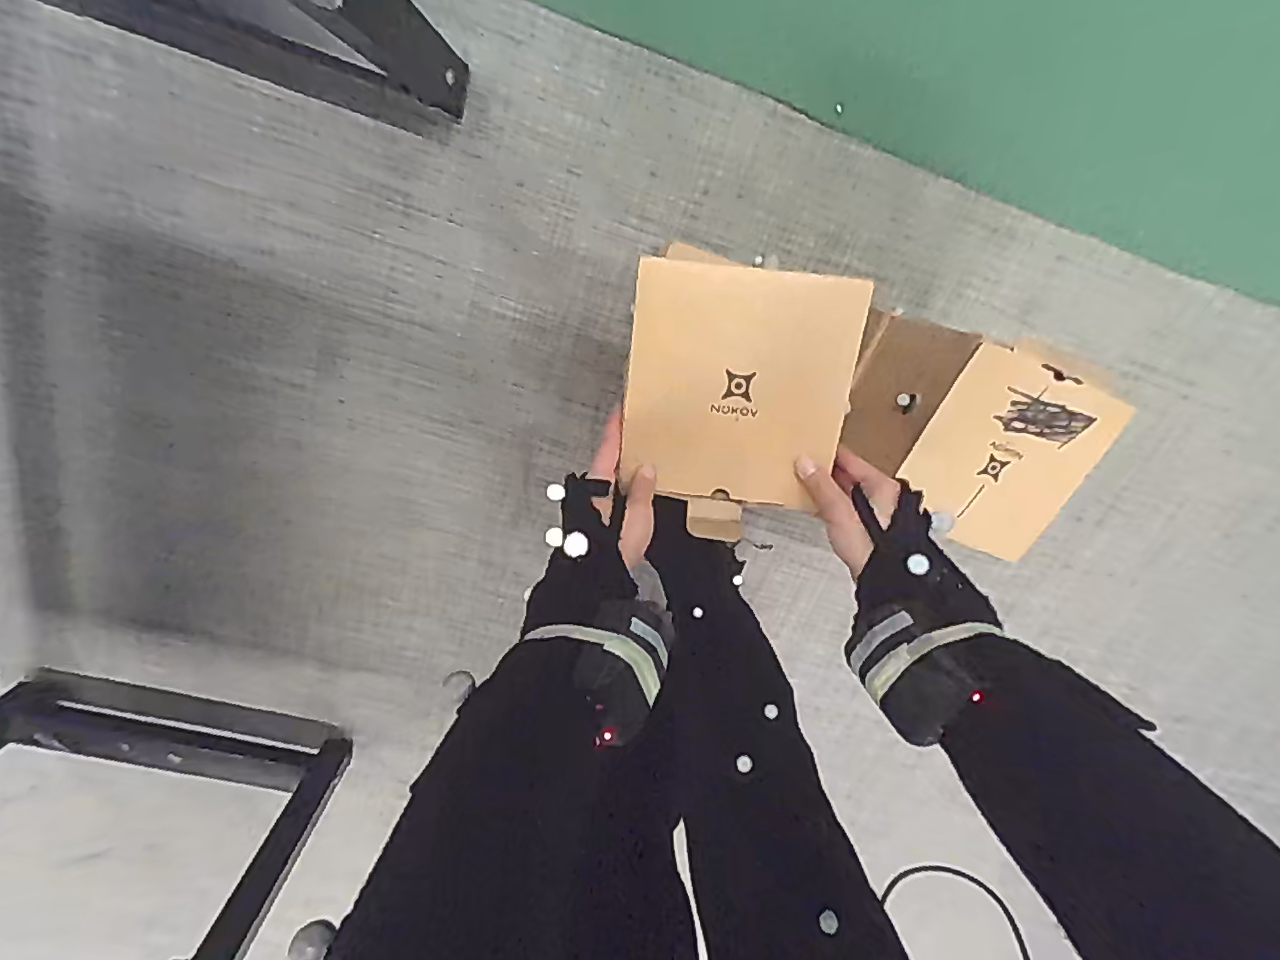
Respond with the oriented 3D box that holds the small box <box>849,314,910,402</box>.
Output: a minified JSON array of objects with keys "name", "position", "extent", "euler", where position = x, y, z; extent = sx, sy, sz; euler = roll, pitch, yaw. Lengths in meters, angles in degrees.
[{"name":"small box","position":[0.318,-0.113,0.722],"extent":[0.168,0.176,0.179],"euler":[21,112,-8]}]

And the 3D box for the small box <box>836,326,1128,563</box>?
[{"name":"small box","position":[0.328,-0.048,0.571],"extent":[0.168,0.176,0.179],"euler":[21,111,-8]}]

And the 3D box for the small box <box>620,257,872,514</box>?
[{"name":"small box","position":[0.075,-0.088,0.476],"extent":[0.168,0.176,0.179],"euler":[6,108,0]}]
